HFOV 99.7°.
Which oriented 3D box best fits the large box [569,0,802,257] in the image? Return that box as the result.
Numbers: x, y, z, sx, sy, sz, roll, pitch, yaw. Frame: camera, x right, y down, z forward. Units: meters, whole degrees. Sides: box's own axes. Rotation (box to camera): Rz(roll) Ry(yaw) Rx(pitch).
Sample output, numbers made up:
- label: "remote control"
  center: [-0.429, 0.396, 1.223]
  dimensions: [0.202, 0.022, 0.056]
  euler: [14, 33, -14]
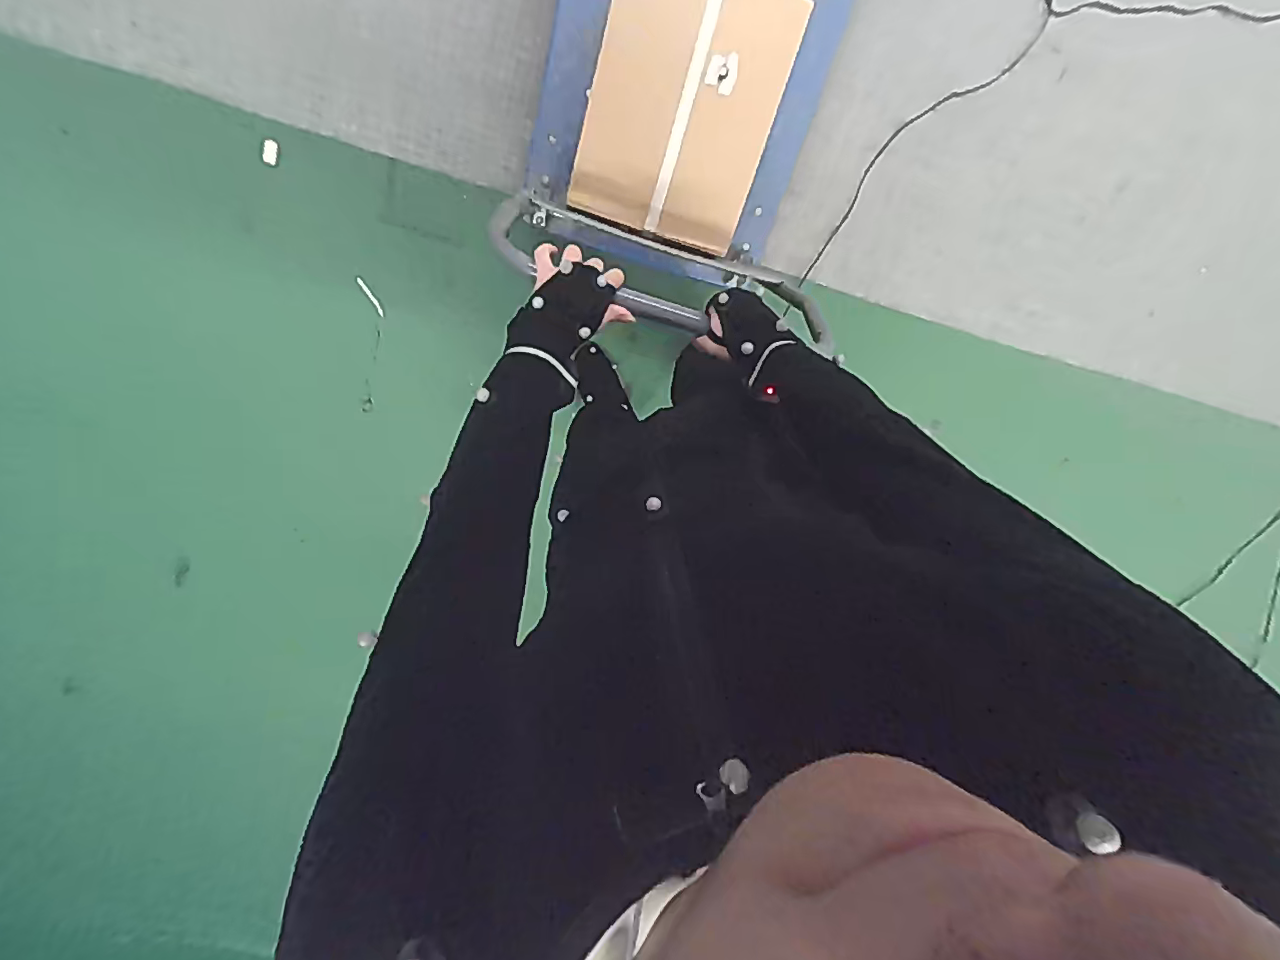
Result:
- label: "large box"
  center: [0.059, -0.689, 1.066]
  dimensions: [0.320, 0.320, 0.408]
  euler: [14, 112, -11]
